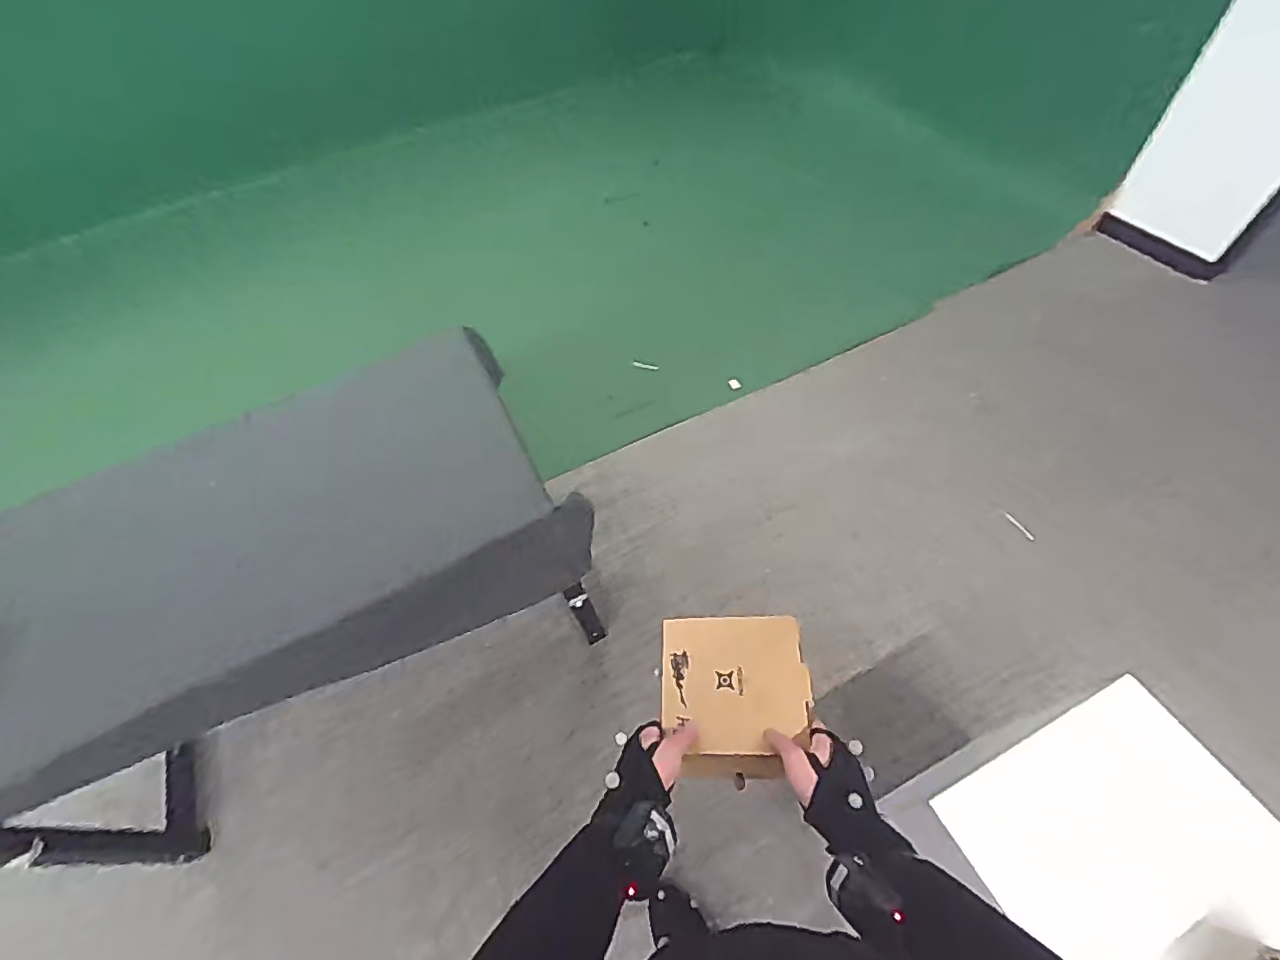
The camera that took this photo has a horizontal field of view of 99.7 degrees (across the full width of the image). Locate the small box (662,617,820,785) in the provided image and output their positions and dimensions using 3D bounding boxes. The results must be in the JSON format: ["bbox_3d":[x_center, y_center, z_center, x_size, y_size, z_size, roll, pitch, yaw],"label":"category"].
[{"bbox_3d":[0.121,0.290,0.704,0.179,0.176,0.168,-2,52,6],"label":"small box"}]
